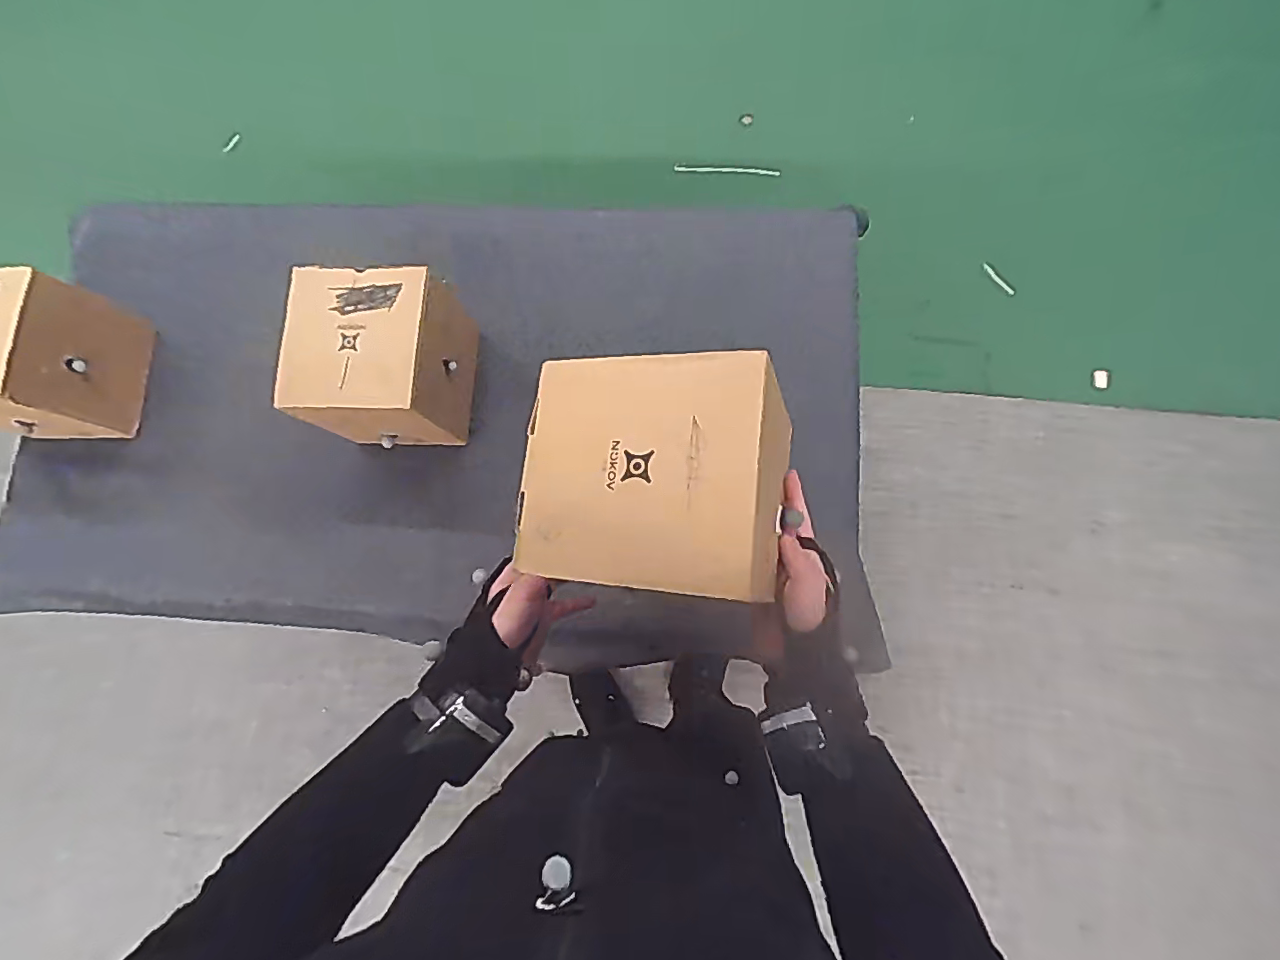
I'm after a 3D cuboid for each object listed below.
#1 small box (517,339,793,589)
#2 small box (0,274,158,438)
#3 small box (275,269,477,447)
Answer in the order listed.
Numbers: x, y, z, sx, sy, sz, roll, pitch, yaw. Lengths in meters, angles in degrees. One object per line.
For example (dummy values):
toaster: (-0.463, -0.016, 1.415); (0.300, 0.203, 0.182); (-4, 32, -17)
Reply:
small box: (0.026, 0.000, 0.449); (0.179, 0.176, 0.168); (1, 79, 21)
small box: (-0.821, -0.158, 0.744); (0.168, 0.176, 0.179); (-1, 80, 4)
small box: (-0.323, -0.149, 0.700); (0.168, 0.176, 0.179); (1, 80, 5)
